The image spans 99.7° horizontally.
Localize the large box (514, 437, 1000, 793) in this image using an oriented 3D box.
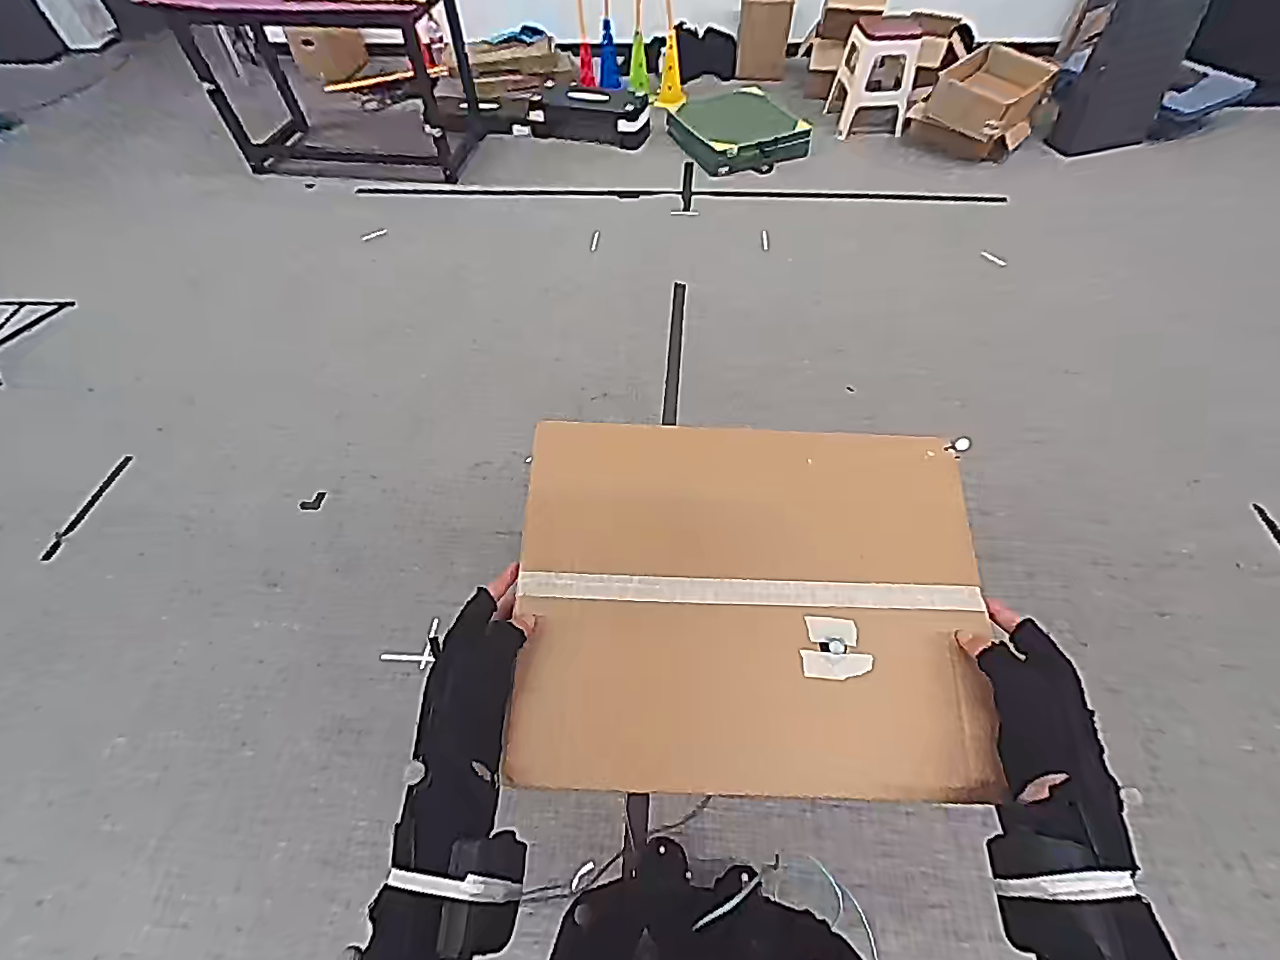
[{"bbox_3d":[0.093,0.159,0.625,0.408,0.320,0.320,2,70,-1],"label":"large box"}]
